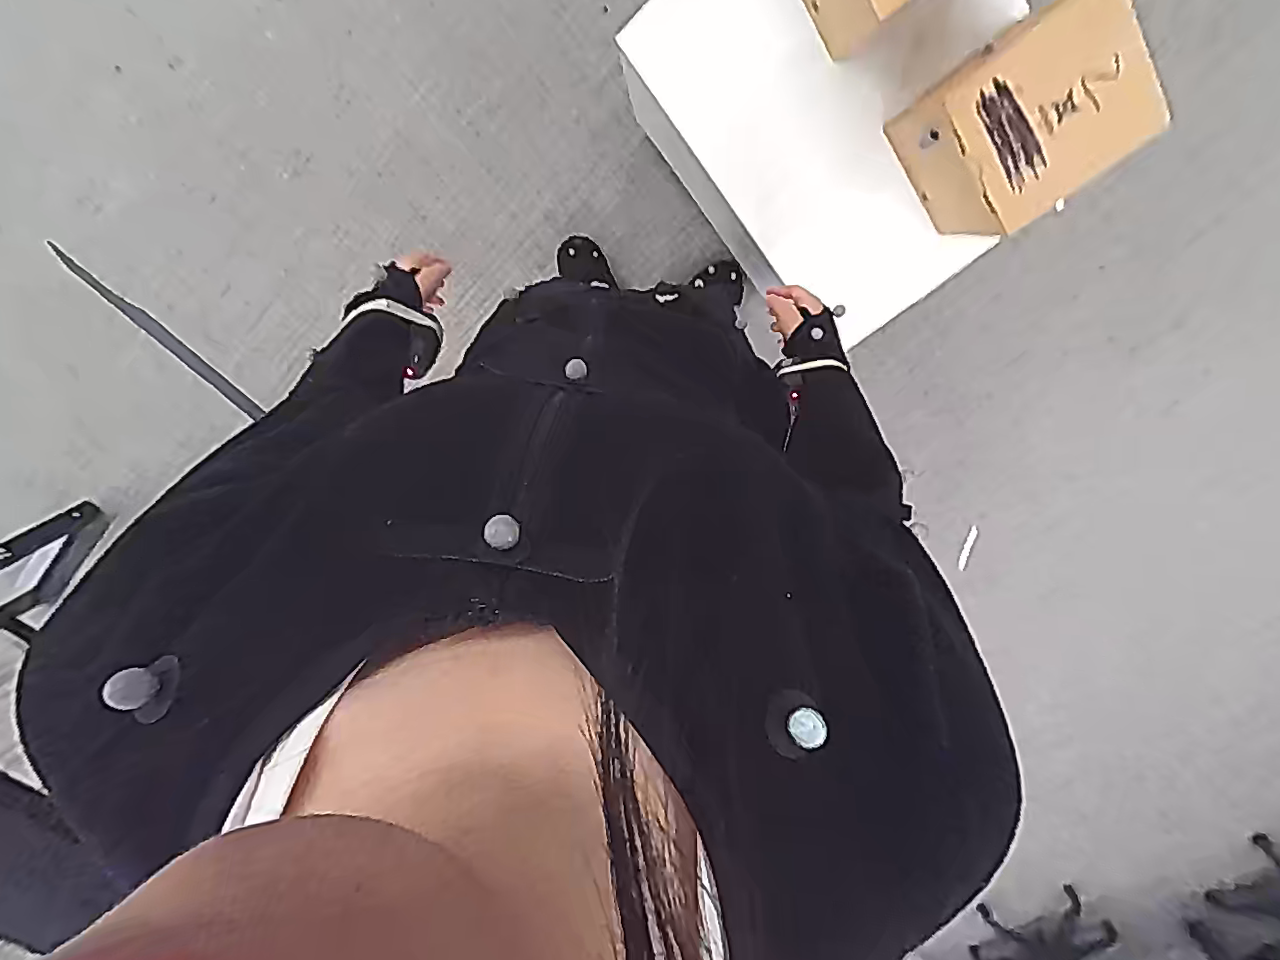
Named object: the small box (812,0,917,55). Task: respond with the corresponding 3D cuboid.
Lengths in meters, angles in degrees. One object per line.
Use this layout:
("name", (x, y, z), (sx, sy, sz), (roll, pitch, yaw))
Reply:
("small box", (0.260, -0.584, 0.545), (0.179, 0.176, 0.168), (-33, 110, 16))
